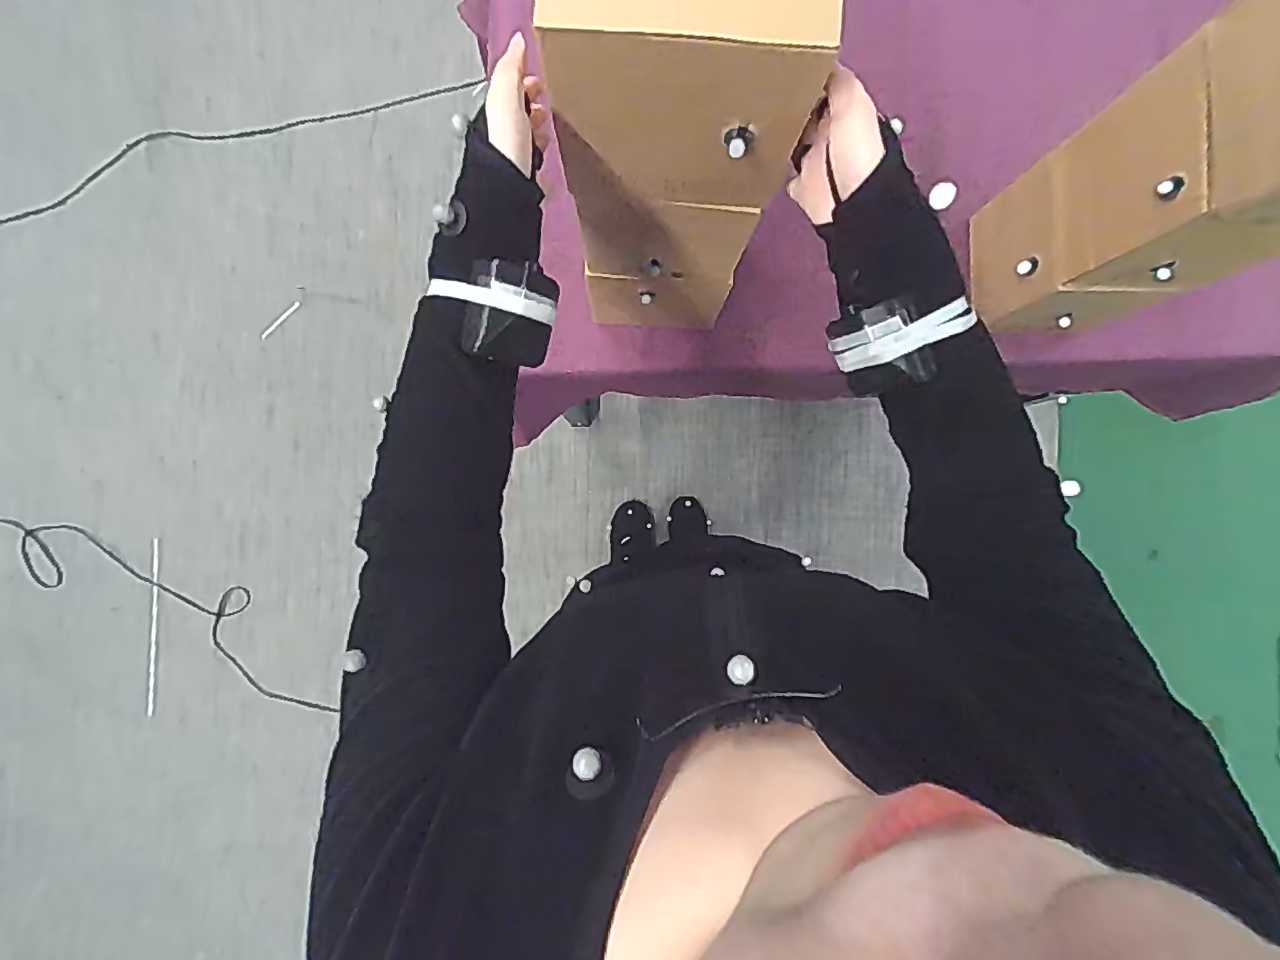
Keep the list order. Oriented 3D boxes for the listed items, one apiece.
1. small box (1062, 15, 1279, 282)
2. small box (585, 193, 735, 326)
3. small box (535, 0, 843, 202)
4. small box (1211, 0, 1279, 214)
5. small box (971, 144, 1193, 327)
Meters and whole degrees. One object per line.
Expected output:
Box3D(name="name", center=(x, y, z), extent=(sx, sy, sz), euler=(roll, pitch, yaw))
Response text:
Box3D(name="small box", center=(0.579, -0.323, 0.558), extent=(0.168, 0.176, 0.179), euler=(0, 89, -1))
Box3D(name="small box", center=(0.024, -0.311, 0.714), extent=(0.179, 0.176, 0.168), euler=(2, 88, -2))
Box3D(name="small box", center=(0.031, -0.323, 0.386), extent=(0.179, 0.176, 0.168), euler=(3, 88, -1))
Box3D(name="small box", center=(0.581, -0.324, 0.394), extent=(0.168, 0.176, 0.179), euler=(-4, 88, 0))
Box3D(name="small box", center=(0.571, -0.311, 0.721), extent=(0.168, 0.176, 0.179), euler=(0, 88, -1))
